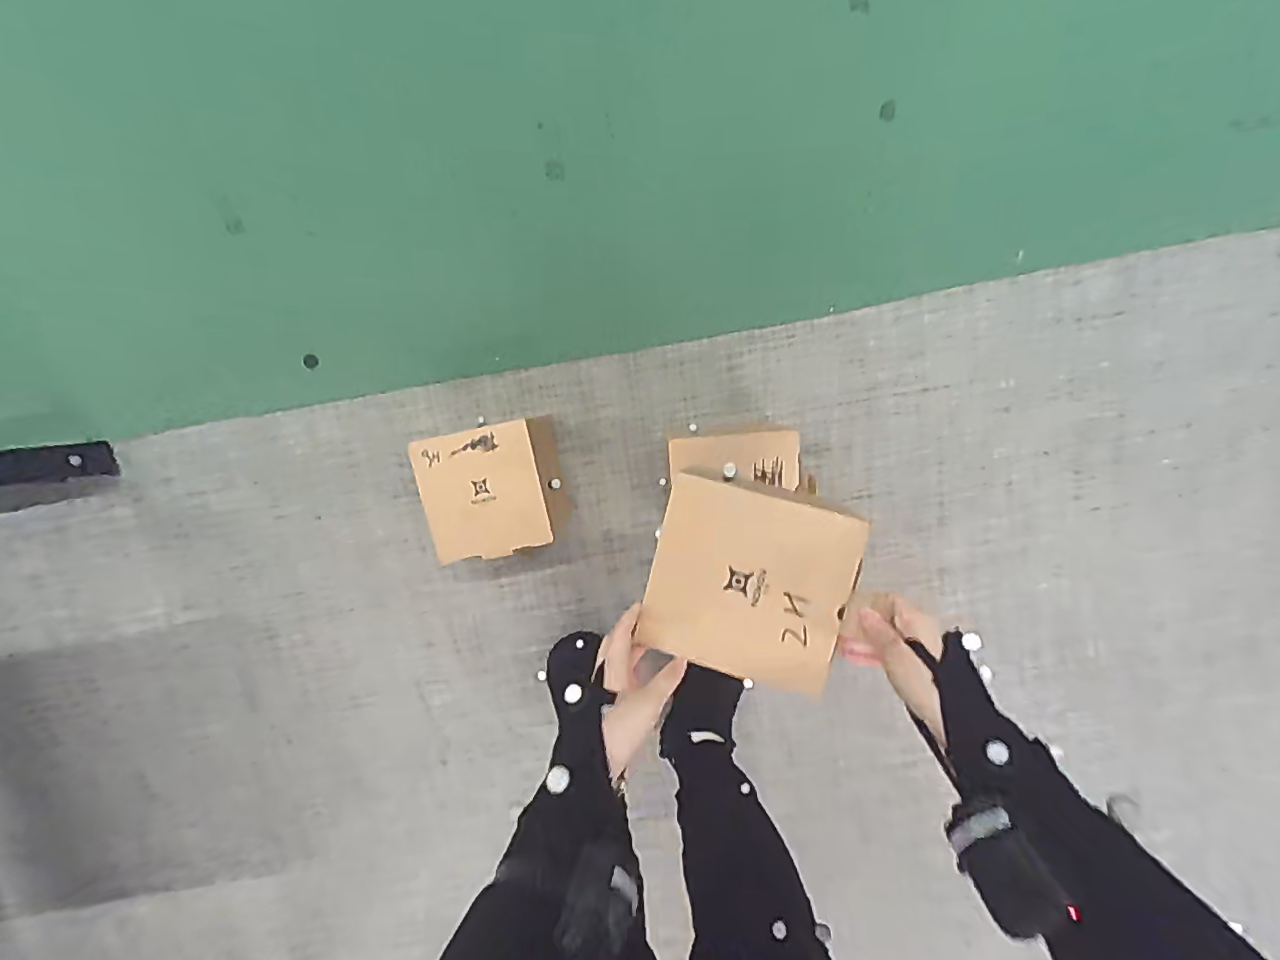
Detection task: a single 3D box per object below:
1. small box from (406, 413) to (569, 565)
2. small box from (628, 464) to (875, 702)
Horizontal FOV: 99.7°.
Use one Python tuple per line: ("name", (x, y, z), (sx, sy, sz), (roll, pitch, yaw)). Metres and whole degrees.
("small box", (-0.211, 0.004, 0.801), (0.168, 0.176, 0.179), (-12, 99, 3))
("small box", (0.106, 0.084, 0.540), (0.179, 0.176, 0.168), (15, 97, 10))
